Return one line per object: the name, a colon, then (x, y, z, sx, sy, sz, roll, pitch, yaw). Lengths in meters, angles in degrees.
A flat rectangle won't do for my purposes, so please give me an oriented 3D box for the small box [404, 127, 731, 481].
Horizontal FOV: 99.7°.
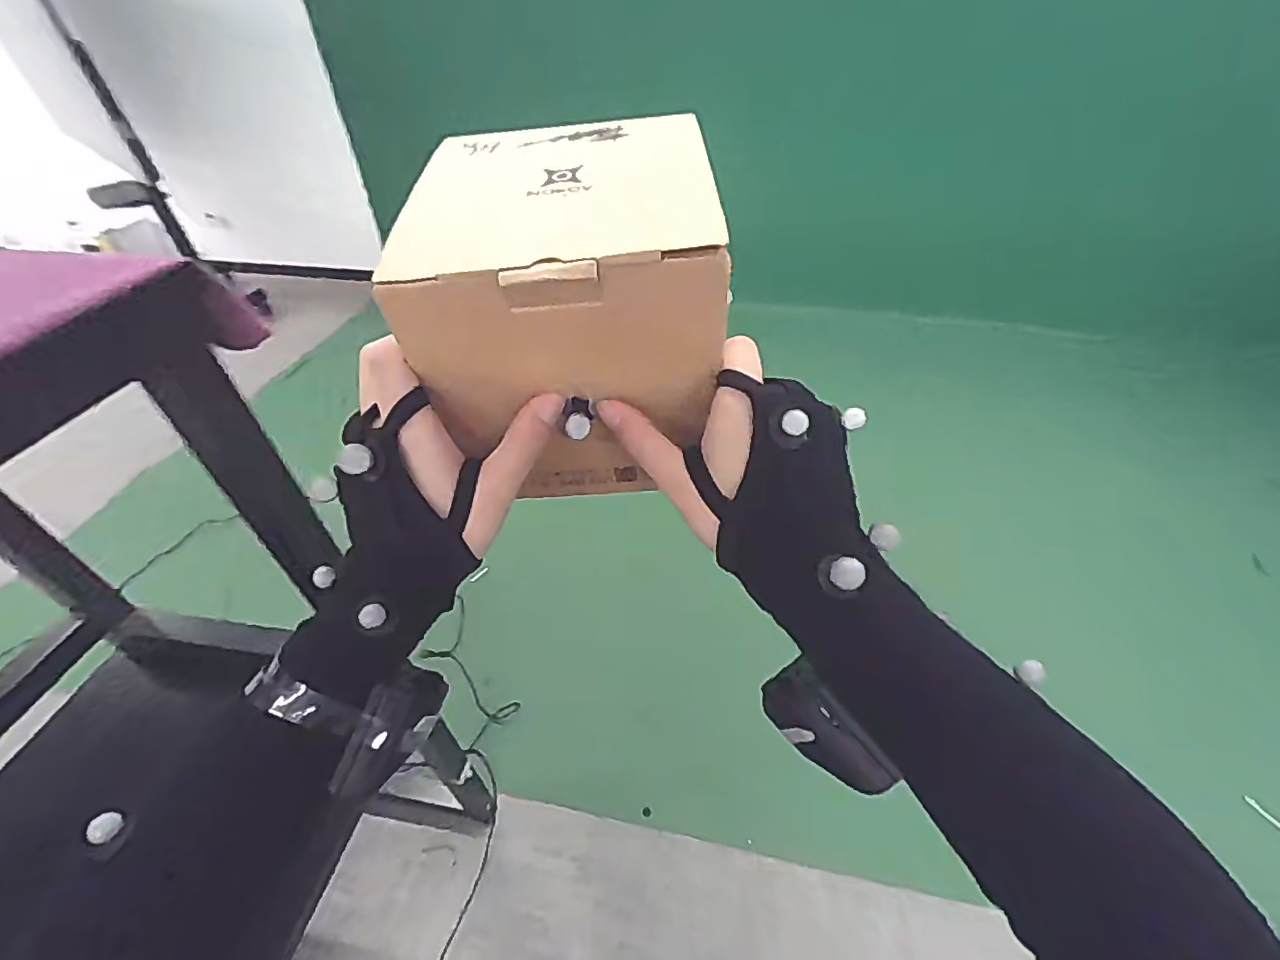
small box: (-0.030, -0.111, 0.373, 0.168, 0.176, 0.179, -4, 51, 2)
